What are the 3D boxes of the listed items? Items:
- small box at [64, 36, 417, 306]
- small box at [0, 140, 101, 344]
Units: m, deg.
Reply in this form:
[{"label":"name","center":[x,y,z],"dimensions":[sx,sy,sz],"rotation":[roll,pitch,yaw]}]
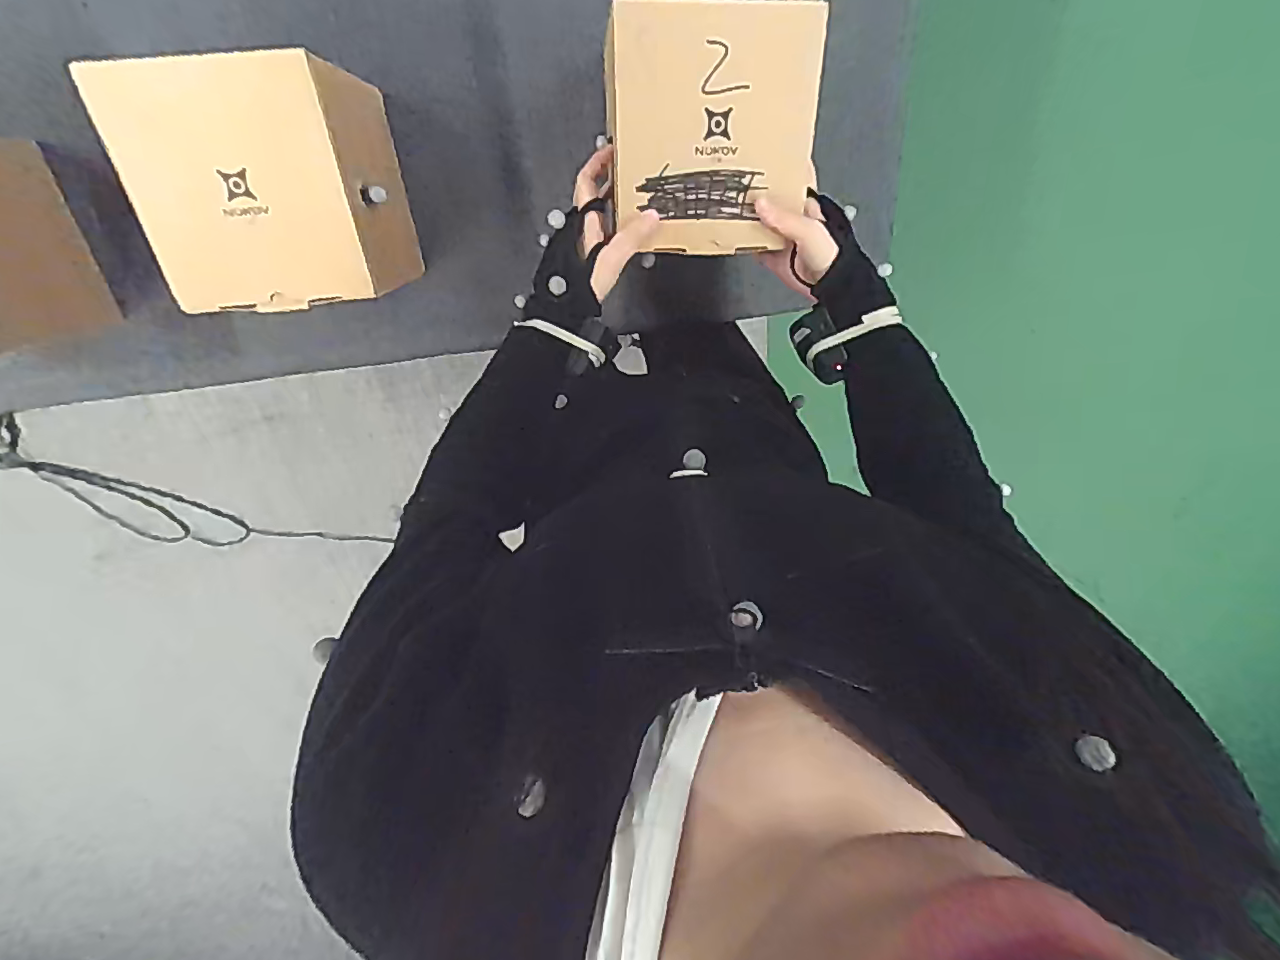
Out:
[{"label":"small box","center":[-0.318,-0.263,0.482],"dimensions":[0.168,0.176,0.179],"rotation":[-6,119,-5]},{"label":"small box","center":[-0.645,-0.208,0.463],"dimensions":[0.168,0.176,0.179],"rotation":[-5,118,-5]}]
